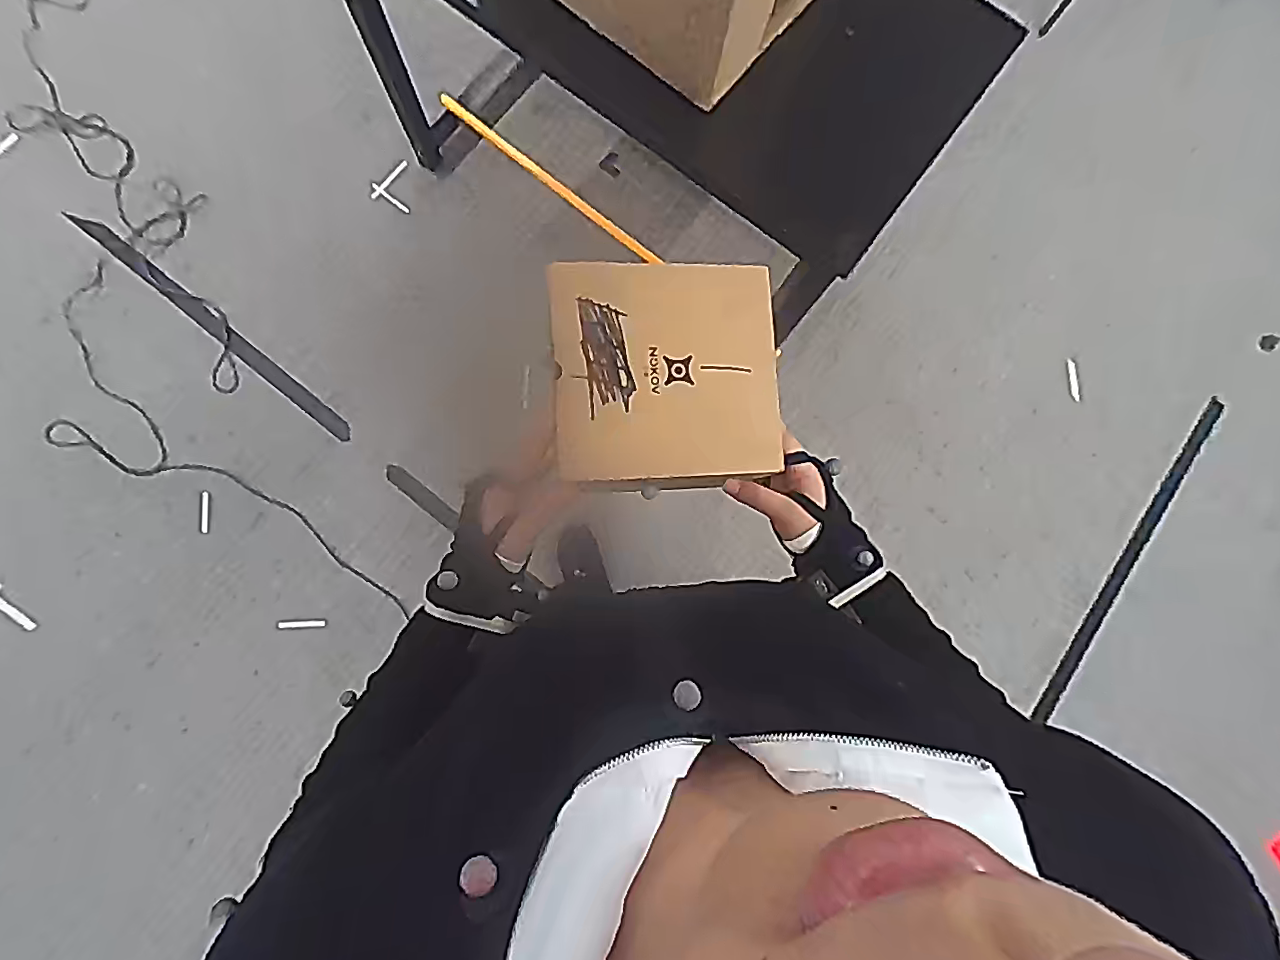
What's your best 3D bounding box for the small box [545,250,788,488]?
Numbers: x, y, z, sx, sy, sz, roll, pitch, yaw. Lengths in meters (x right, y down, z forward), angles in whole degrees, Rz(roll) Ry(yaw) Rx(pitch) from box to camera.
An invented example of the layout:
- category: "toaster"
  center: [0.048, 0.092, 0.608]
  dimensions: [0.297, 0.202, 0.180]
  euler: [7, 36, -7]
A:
- category: "small box"
  center: [0.010, -0.082, 0.476]
  dimensions: [0.179, 0.176, 0.168]
  euler: [-3, 86, -9]
